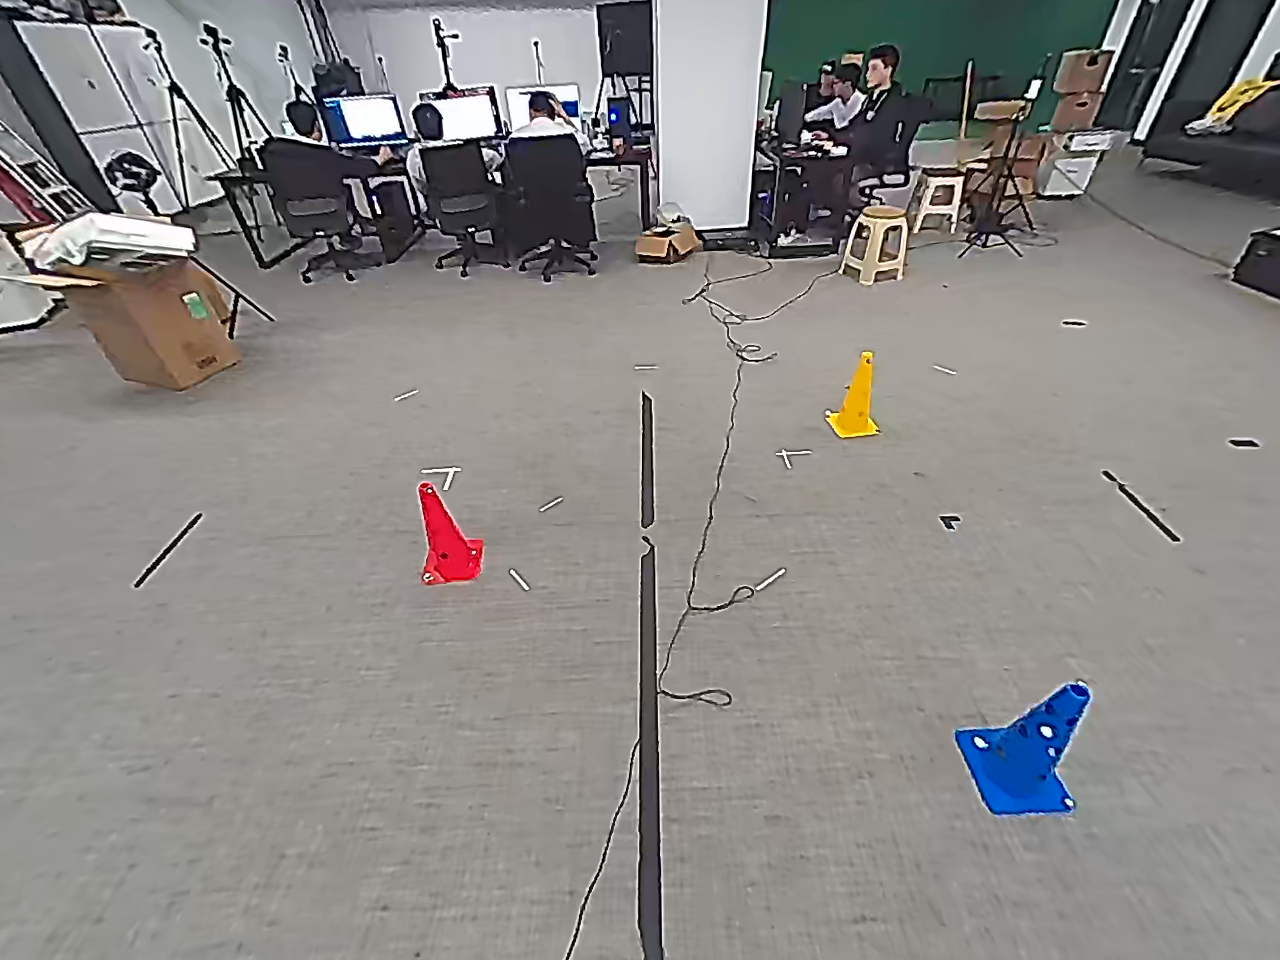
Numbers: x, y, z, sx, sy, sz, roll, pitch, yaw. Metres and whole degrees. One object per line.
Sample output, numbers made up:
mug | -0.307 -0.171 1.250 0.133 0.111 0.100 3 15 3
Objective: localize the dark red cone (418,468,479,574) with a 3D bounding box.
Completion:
dark red cone | -0.684 0.129 1.830 0.201 0.394 0.202 -6 38 -5

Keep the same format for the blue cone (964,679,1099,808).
blue cone | 0.906 0.564 1.211 0.192 0.380 0.193 -1 38 1
